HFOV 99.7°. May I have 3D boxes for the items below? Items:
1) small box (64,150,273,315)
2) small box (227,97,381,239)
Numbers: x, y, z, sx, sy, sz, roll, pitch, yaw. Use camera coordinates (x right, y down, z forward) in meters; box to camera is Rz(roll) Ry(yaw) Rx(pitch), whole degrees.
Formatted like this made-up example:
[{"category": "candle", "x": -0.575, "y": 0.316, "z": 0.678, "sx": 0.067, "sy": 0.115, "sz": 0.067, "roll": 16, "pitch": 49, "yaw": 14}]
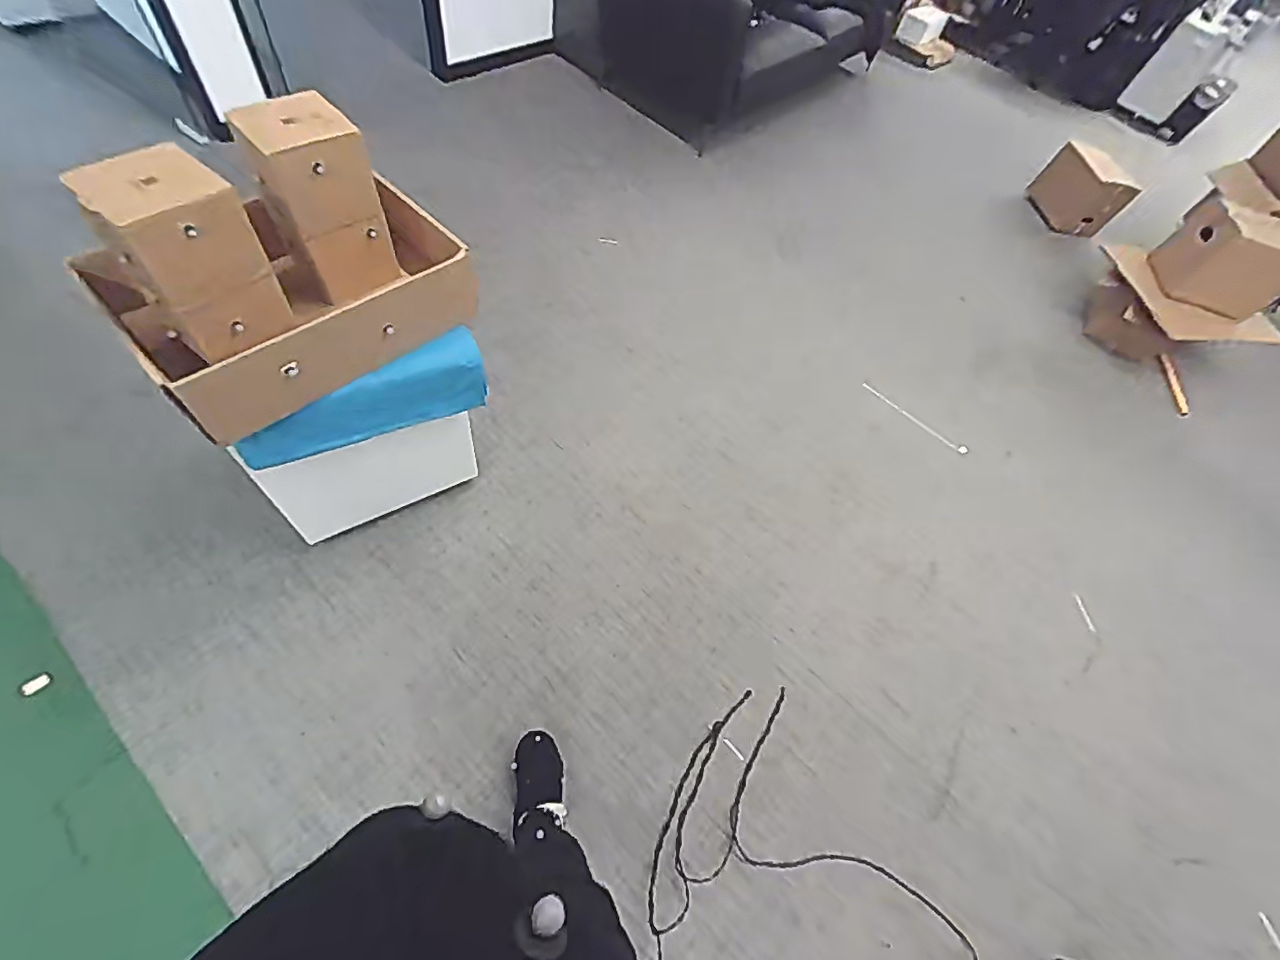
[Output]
[{"category": "small box", "x": -0.776, "y": -0.412, "z": 0.913, "sx": 0.168, "sy": 0.176, "sz": 0.179, "roll": 36, "pitch": 58, "yaw": 13}, {"category": "small box", "x": -0.643, "y": -0.604, "z": 1.057, "sx": 0.179, "sy": 0.176, "sz": 0.168, "roll": -36, "pitch": 71, "yaw": -28}]
